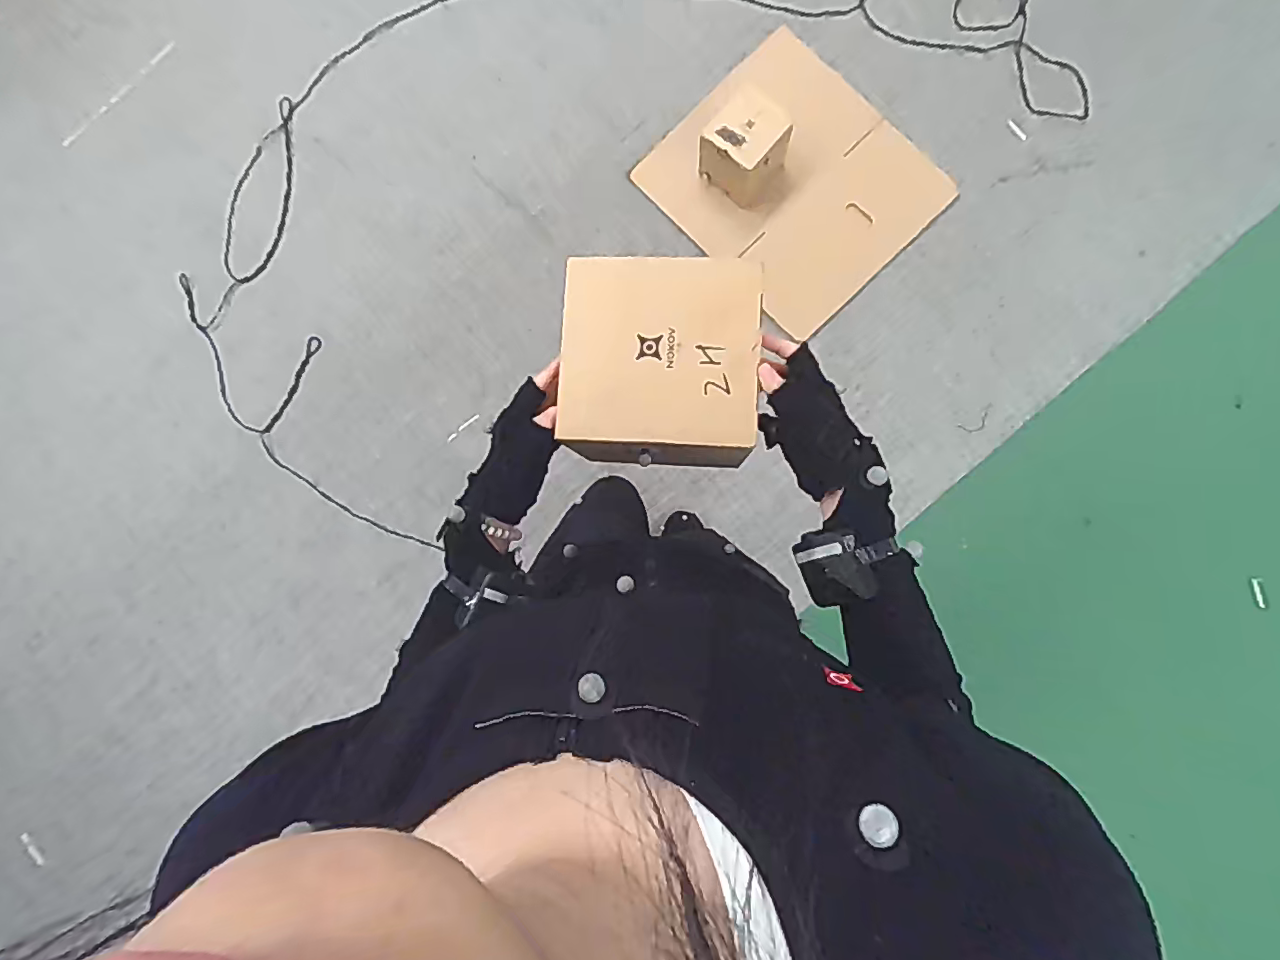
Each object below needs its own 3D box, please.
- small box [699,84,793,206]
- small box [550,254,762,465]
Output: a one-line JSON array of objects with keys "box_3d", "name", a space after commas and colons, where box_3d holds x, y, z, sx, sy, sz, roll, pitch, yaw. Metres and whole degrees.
[{"box_3d": [0.274, -0.870, 1.424, 0.168, 0.176, 0.179, 42, 90, 6], "name": "small box"}, {"box_3d": [0.021, -0.107, 0.544, 0.179, 0.176, 0.168, 3, 86, 5], "name": "small box"}]
